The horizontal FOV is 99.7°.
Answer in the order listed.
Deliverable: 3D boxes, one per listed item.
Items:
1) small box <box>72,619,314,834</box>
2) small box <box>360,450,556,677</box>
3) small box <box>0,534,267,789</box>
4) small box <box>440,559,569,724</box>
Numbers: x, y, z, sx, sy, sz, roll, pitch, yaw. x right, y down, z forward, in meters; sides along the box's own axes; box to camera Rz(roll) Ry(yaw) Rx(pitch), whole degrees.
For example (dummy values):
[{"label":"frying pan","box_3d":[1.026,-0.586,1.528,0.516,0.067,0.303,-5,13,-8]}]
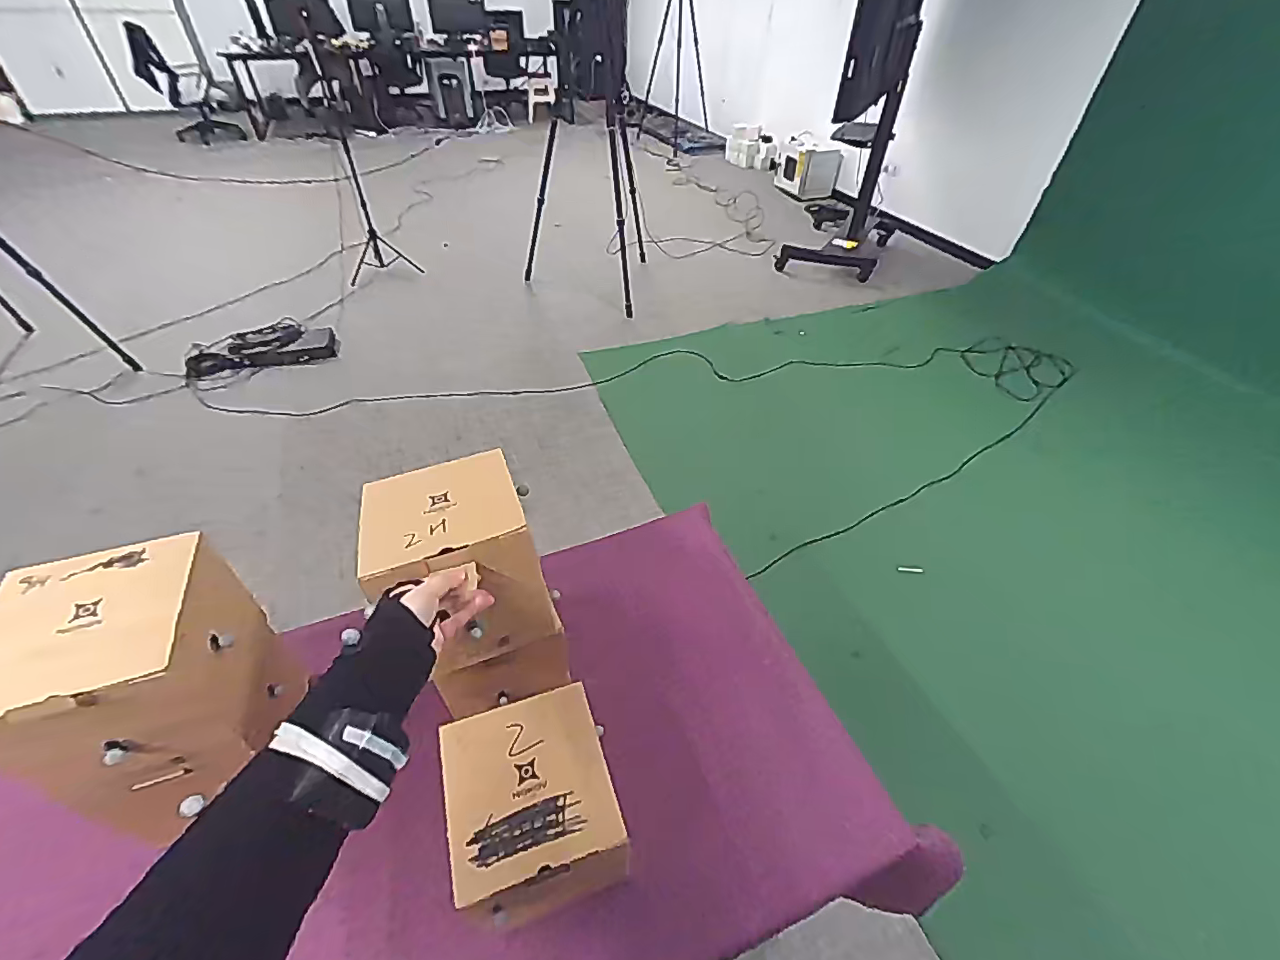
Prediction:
[{"label":"small box","box_3d":[-0.526,0.309,0.672,0.168,0.176,0.179,-14,46,-17]},{"label":"small box","box_3d":[-0.210,0.093,0.640,0.168,0.176,0.179,-18,37,-14]},{"label":"small box","box_3d":[-0.515,0.190,0.558,0.168,0.176,0.179,-14,46,-17]},{"label":"small box","box_3d":[-0.208,0.213,0.780,0.168,0.176,0.179,-17,48,-18]}]
